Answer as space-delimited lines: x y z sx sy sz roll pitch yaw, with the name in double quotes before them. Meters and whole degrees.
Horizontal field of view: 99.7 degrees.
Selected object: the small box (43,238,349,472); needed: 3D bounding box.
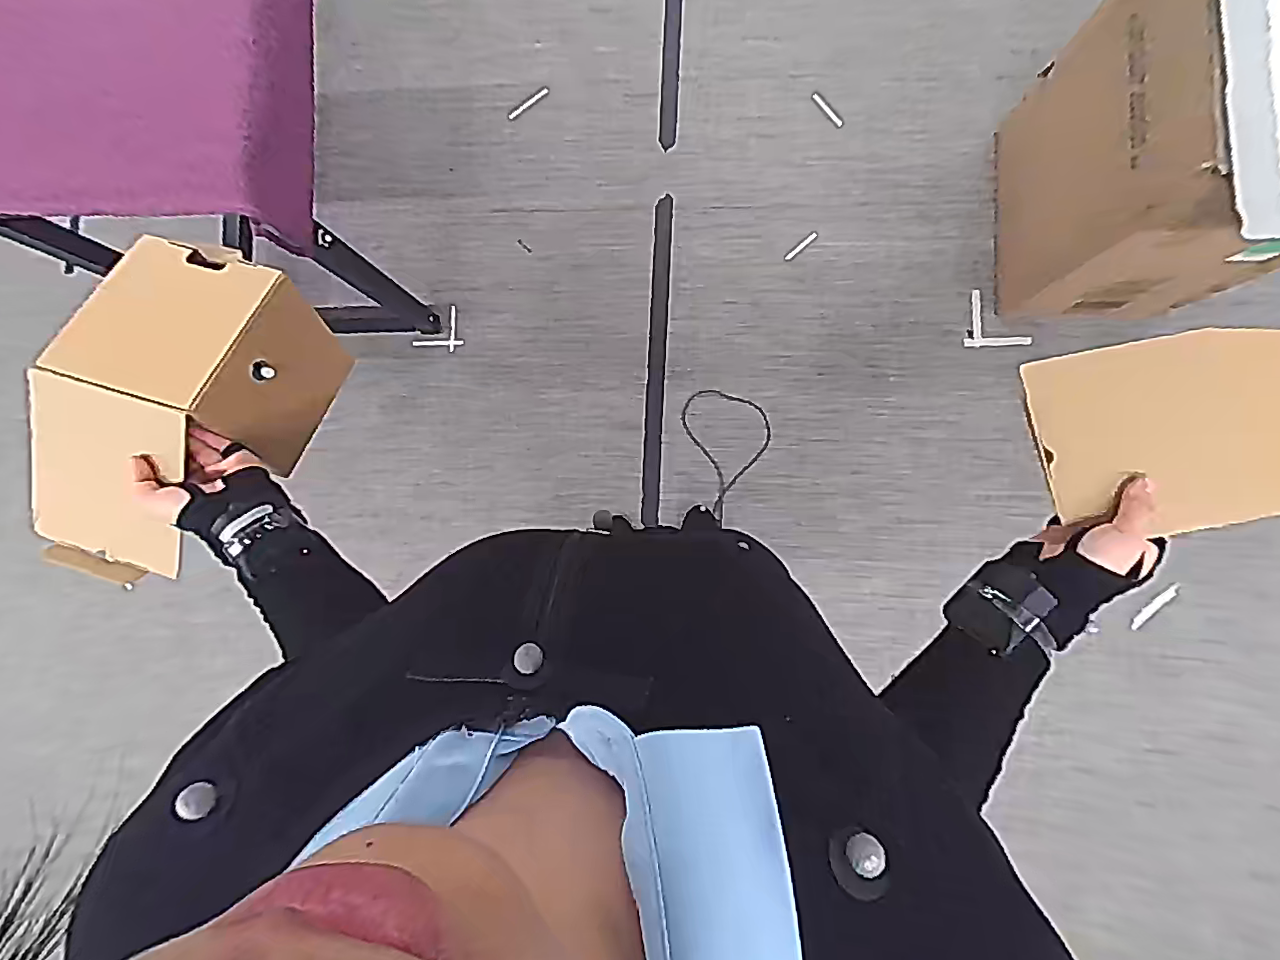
"small box" -0.470 -0.129 0.611 0.168 0.176 0.179 16 68 4
